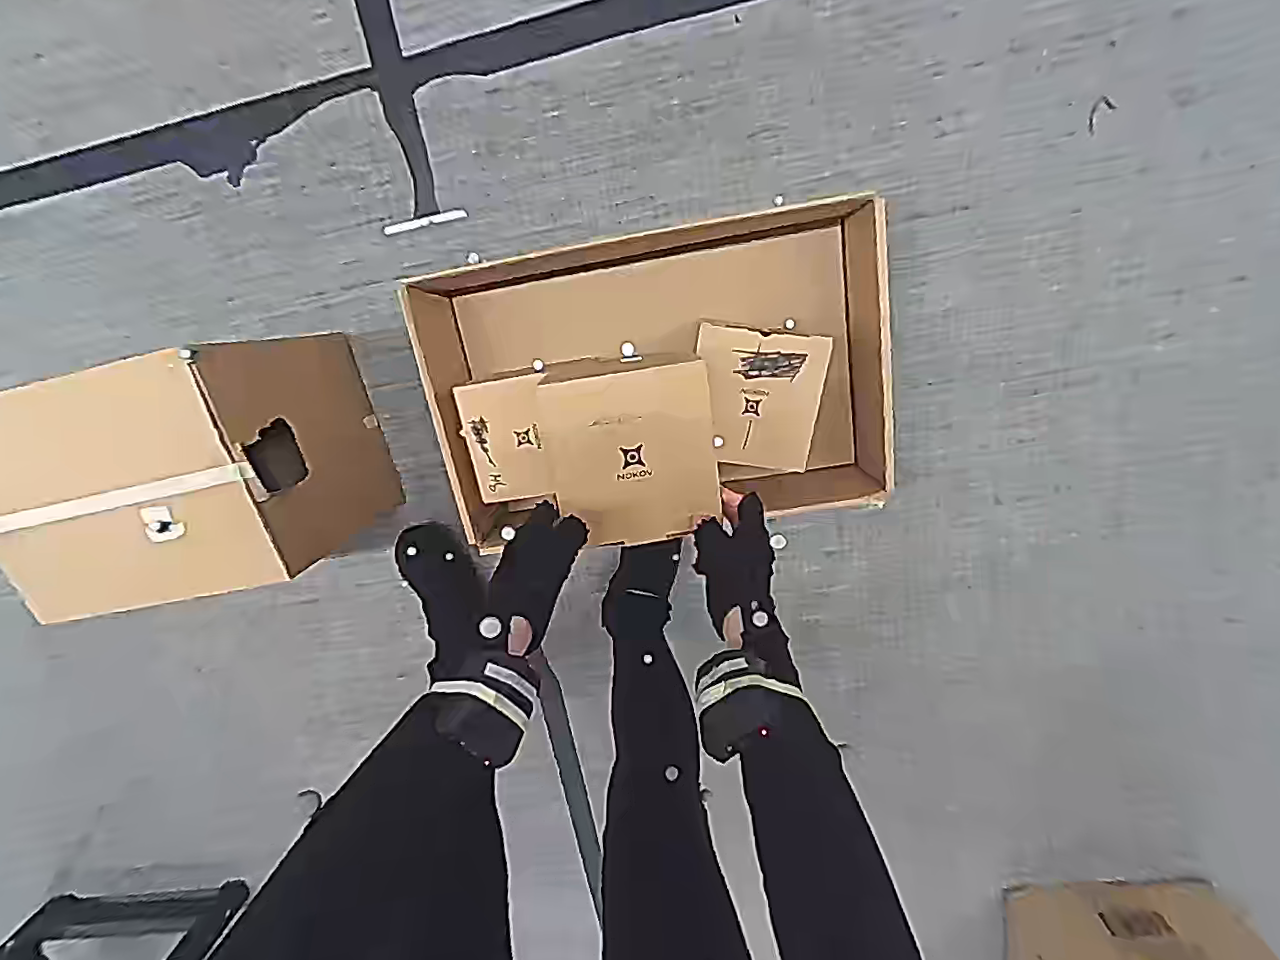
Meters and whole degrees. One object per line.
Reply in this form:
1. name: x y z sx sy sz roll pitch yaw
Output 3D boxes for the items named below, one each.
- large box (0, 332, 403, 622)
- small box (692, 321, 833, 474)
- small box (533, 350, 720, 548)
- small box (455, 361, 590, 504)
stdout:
1. large box: -0.665 -0.026 0.835 0.408 0.320 0.320 -12 107 7
2. small box: 0.151 -0.125 0.760 0.168 0.176 0.179 8 109 3
3. small box: -0.011 -0.045 0.608 0.168 0.176 0.179 -9 105 0
4. small box: -0.142 -0.078 0.795 0.179 0.176 0.168 -9 105 5
